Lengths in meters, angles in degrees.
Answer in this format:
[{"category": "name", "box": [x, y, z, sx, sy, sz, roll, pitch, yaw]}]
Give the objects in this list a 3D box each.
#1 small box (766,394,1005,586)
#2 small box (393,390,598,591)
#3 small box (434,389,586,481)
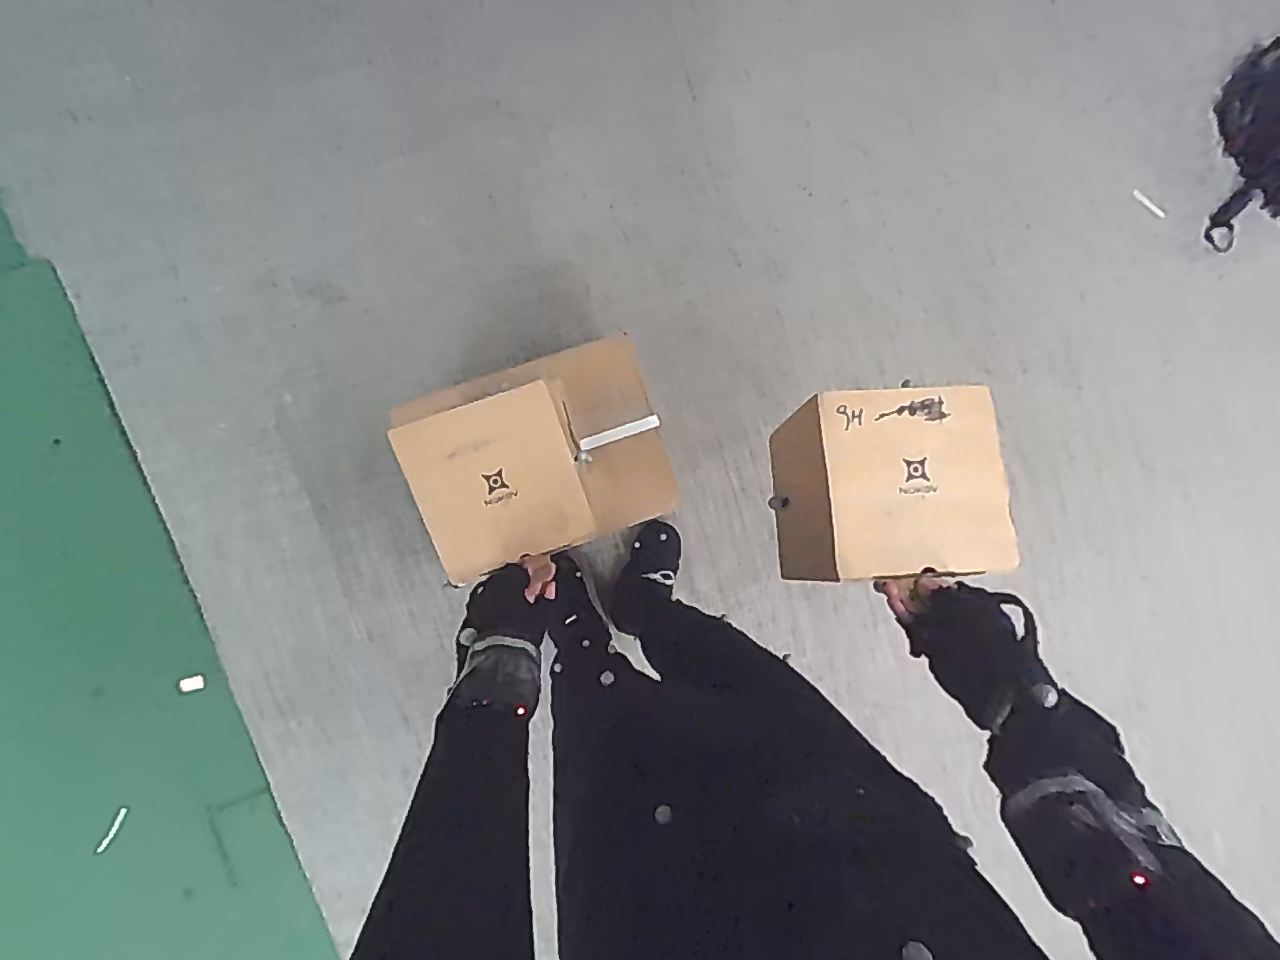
[{"category": "small box", "box": [0.242, 0.017, 0.576, 0.168, 0.176, 0.179, -2, 81, -5]}, {"category": "small box", "box": [-0.155, 0.000, 0.638, 0.168, 0.176, 0.179, -20, 100, -4]}, {"category": "small box", "box": [-0.177, -0.039, 0.793, 0.179, 0.176, 0.168, -12, 99, -4]}]
